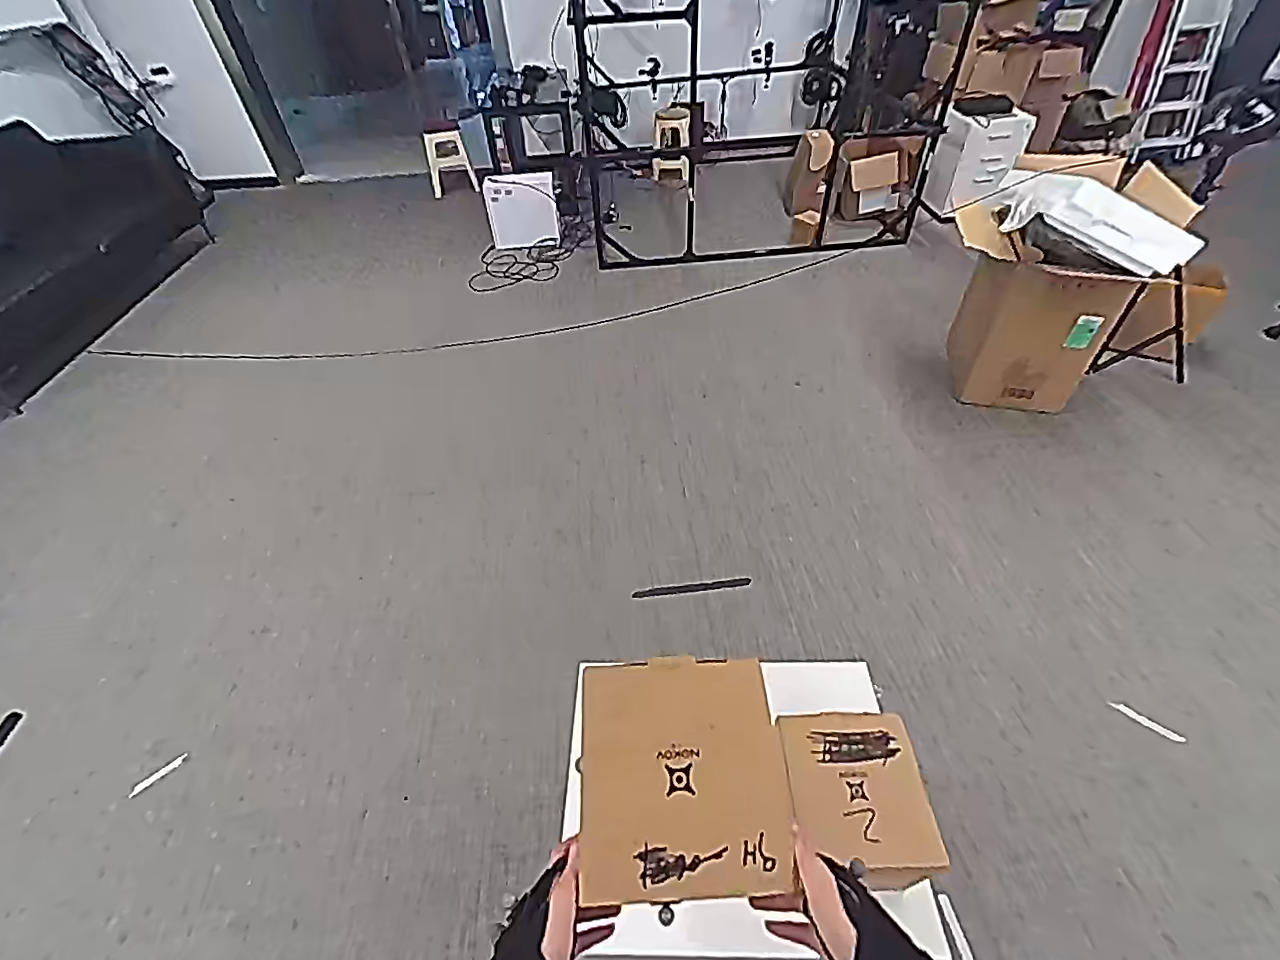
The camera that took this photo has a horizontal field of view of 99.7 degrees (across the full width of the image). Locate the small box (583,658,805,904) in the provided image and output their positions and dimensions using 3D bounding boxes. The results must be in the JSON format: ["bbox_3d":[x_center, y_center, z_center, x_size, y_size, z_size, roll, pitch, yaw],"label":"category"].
[{"bbox_3d":[0.037,0.284,0.507,0.168,0.176,0.179,-3,53,-1],"label":"small box"}]
